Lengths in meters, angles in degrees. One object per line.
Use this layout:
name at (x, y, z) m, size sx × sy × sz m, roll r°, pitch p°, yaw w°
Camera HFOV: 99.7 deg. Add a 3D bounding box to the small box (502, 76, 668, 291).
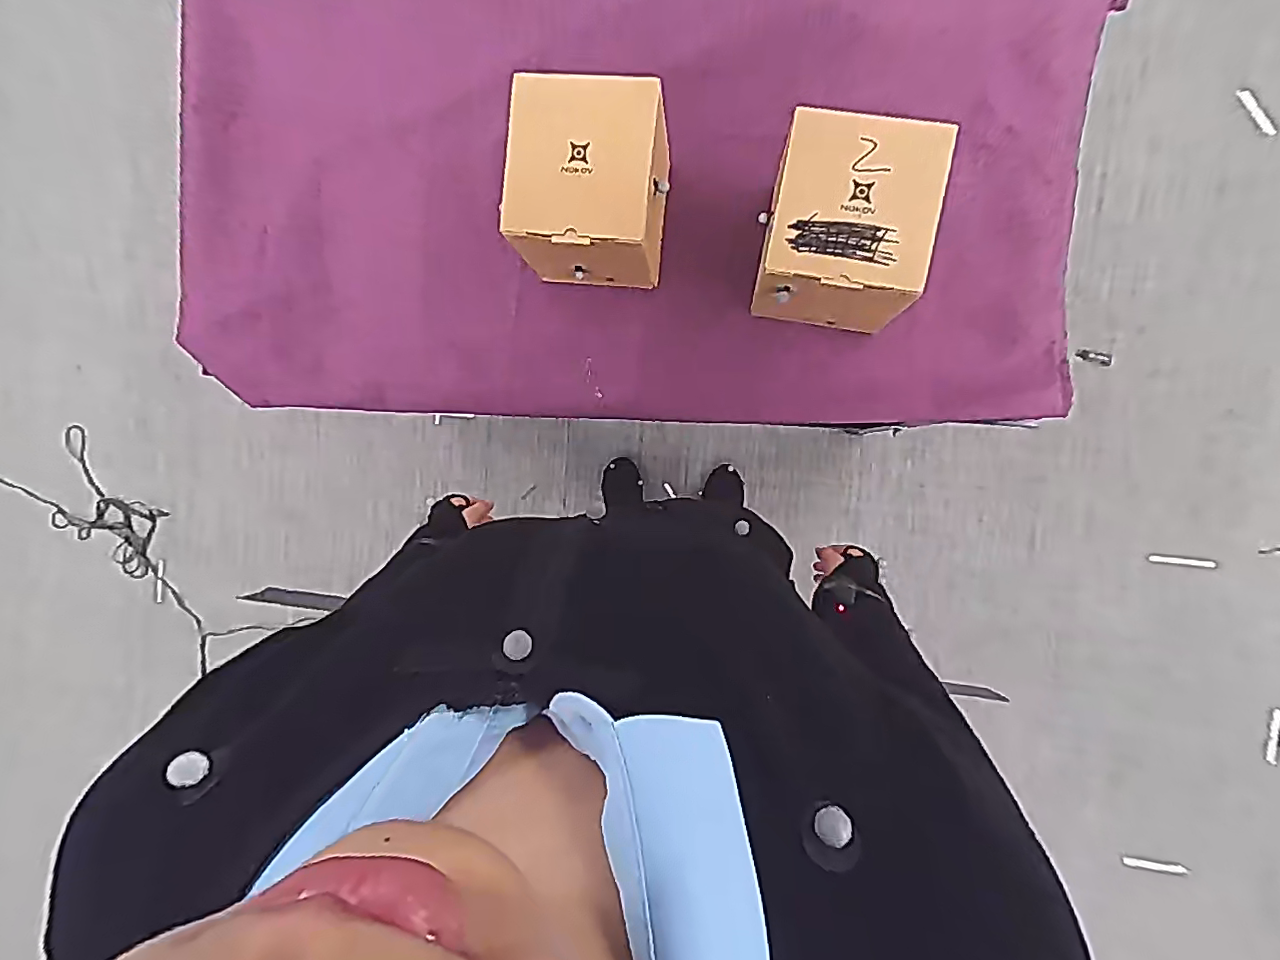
small box at (-0.057, -0.354, 0.673) m, size 0.168 × 0.176 × 0.179 m, roll 7°, pitch 94°, yaw 6°
